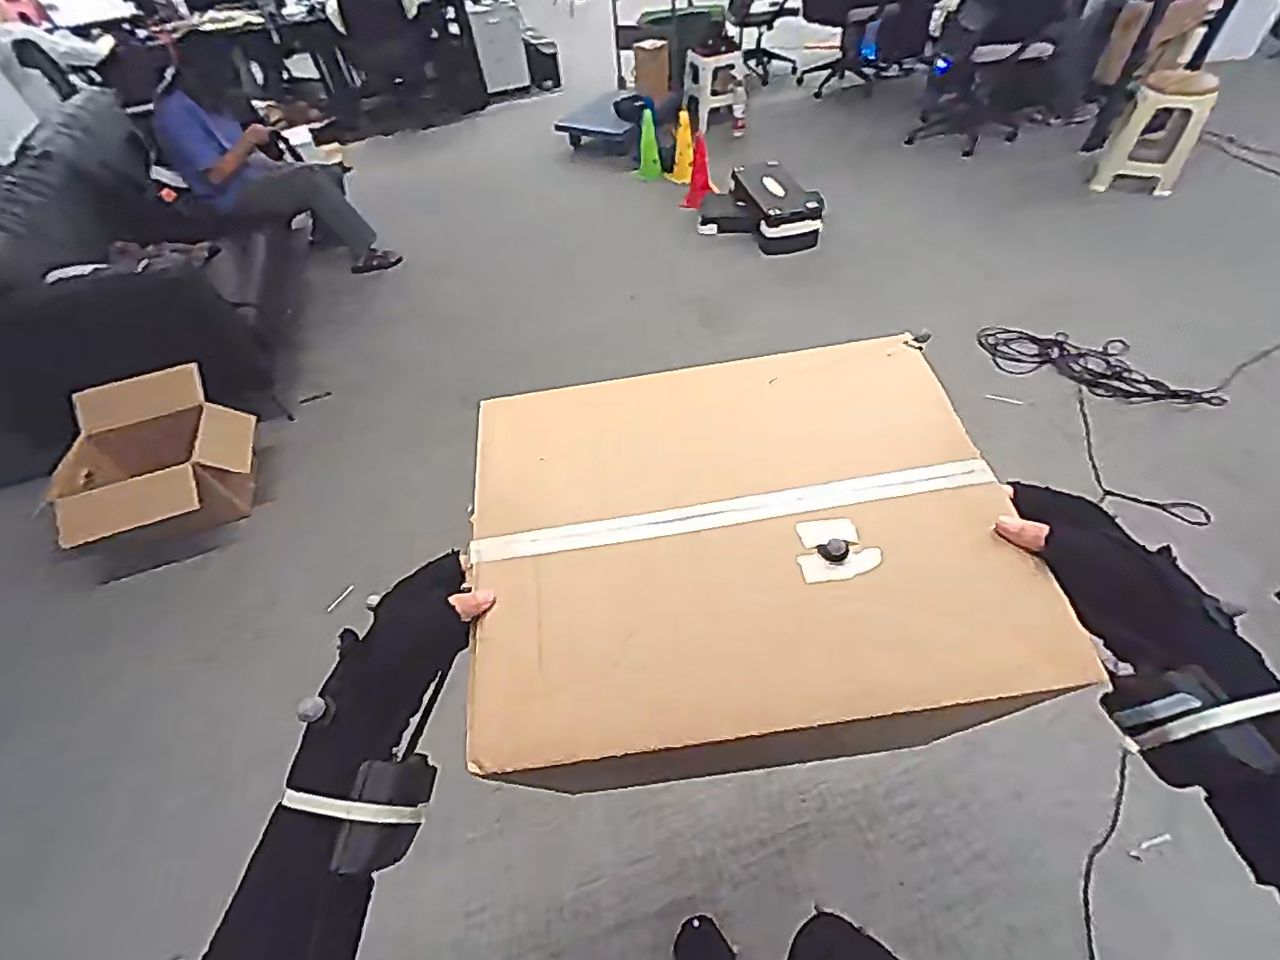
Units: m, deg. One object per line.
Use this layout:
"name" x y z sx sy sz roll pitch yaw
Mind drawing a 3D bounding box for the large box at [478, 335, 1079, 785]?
"large box" 0.081 0.100 0.550 0.408 0.320 0.320 -8 58 0
